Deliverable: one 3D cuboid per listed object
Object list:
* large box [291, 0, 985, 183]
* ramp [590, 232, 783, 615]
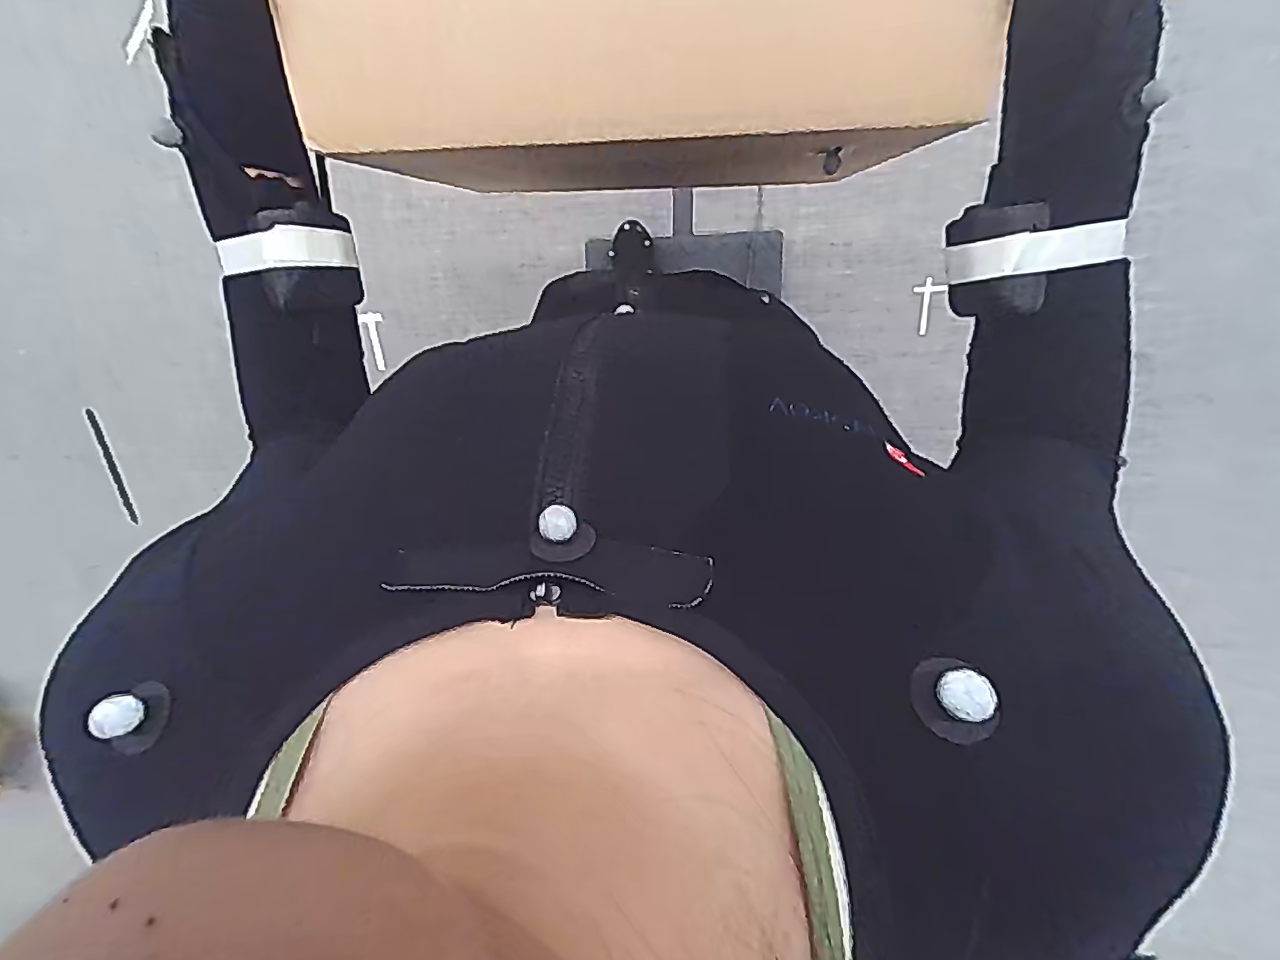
[{"bbox_3d":[0.001,-0.416,0.406,0.408,0.320,0.320,0,114,5],"label":"large box"},{"bbox_3d":[0.120,-0.118,1.440,0.509,0.206,0.991,-1,110,8],"label":"ramp"}]
